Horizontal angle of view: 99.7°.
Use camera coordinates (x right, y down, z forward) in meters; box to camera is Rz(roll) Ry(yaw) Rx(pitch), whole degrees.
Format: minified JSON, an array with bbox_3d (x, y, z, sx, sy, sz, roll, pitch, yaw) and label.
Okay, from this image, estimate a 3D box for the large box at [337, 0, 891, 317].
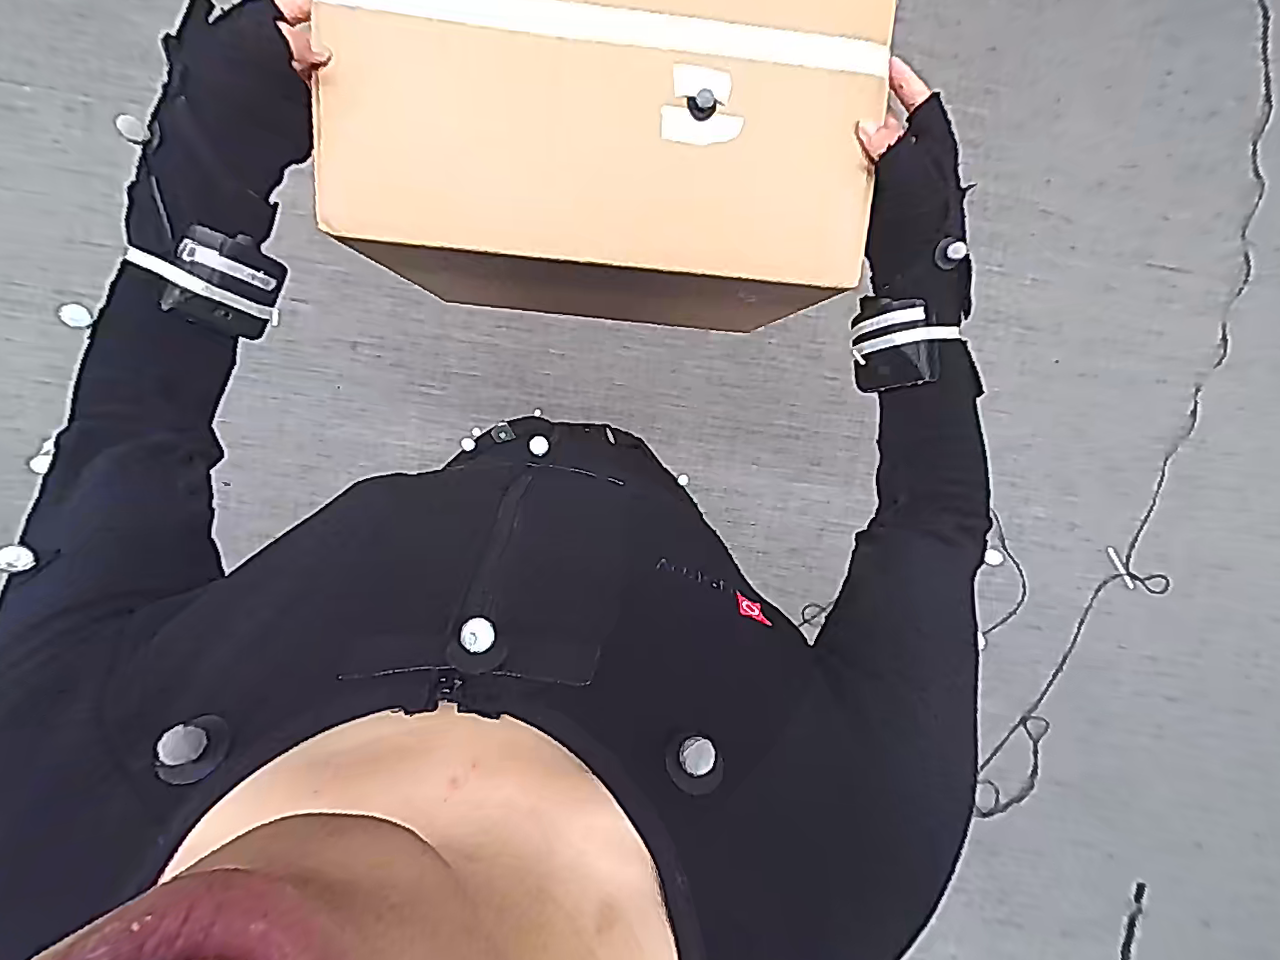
[{"bbox_3d":[-0.026,-0.352,0.538,0.408,0.320,0.320,3,100,-5],"label":"large box"}]
